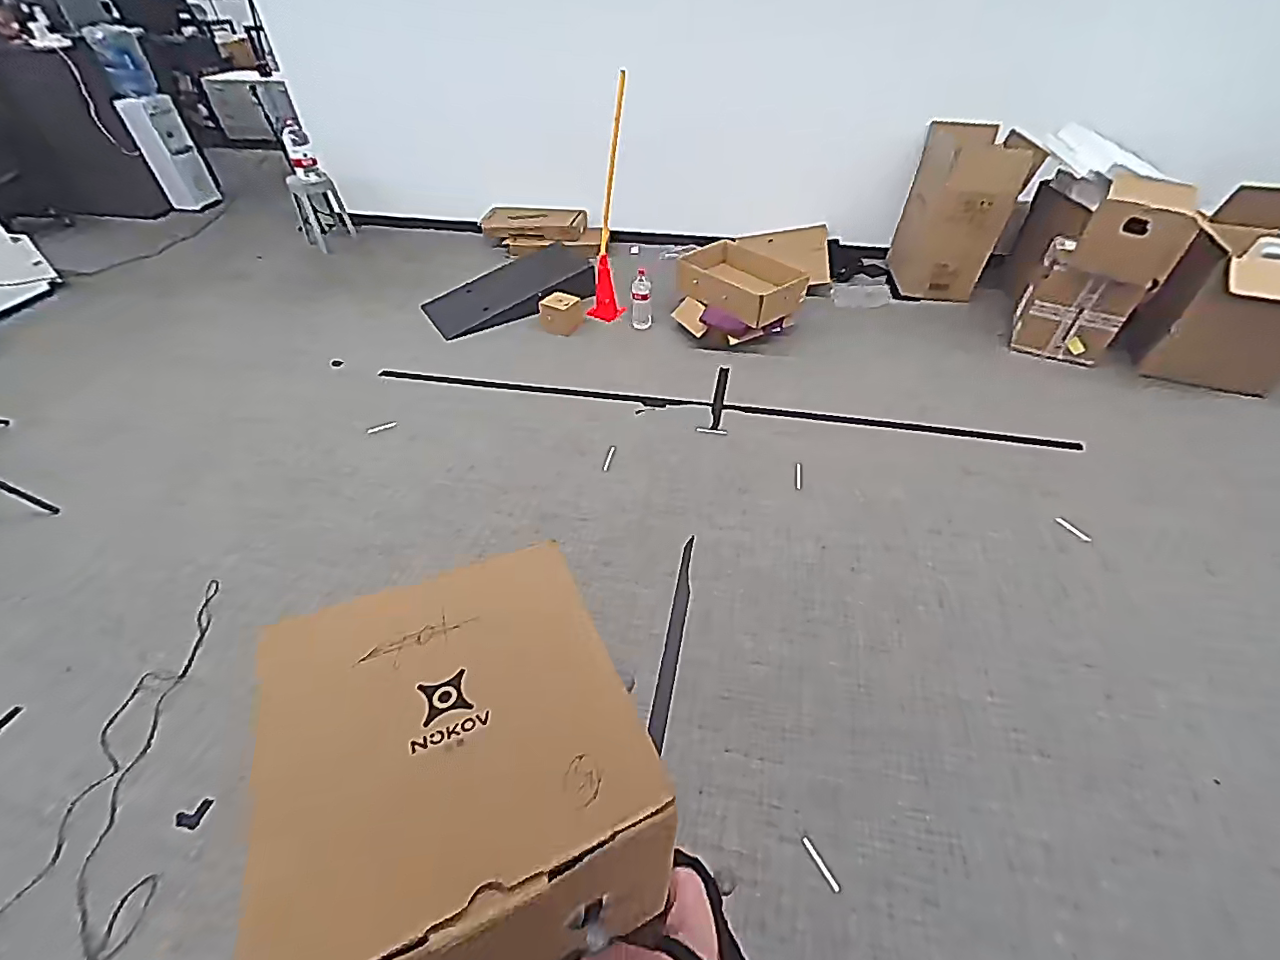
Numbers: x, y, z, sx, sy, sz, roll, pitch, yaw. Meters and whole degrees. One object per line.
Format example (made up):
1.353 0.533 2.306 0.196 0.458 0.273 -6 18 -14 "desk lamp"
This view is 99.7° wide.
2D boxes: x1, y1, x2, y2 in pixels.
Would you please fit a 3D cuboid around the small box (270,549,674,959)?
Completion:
-0.093 0.178 0.323 0.168 0.176 0.179 -16 42 -21 "small box"
